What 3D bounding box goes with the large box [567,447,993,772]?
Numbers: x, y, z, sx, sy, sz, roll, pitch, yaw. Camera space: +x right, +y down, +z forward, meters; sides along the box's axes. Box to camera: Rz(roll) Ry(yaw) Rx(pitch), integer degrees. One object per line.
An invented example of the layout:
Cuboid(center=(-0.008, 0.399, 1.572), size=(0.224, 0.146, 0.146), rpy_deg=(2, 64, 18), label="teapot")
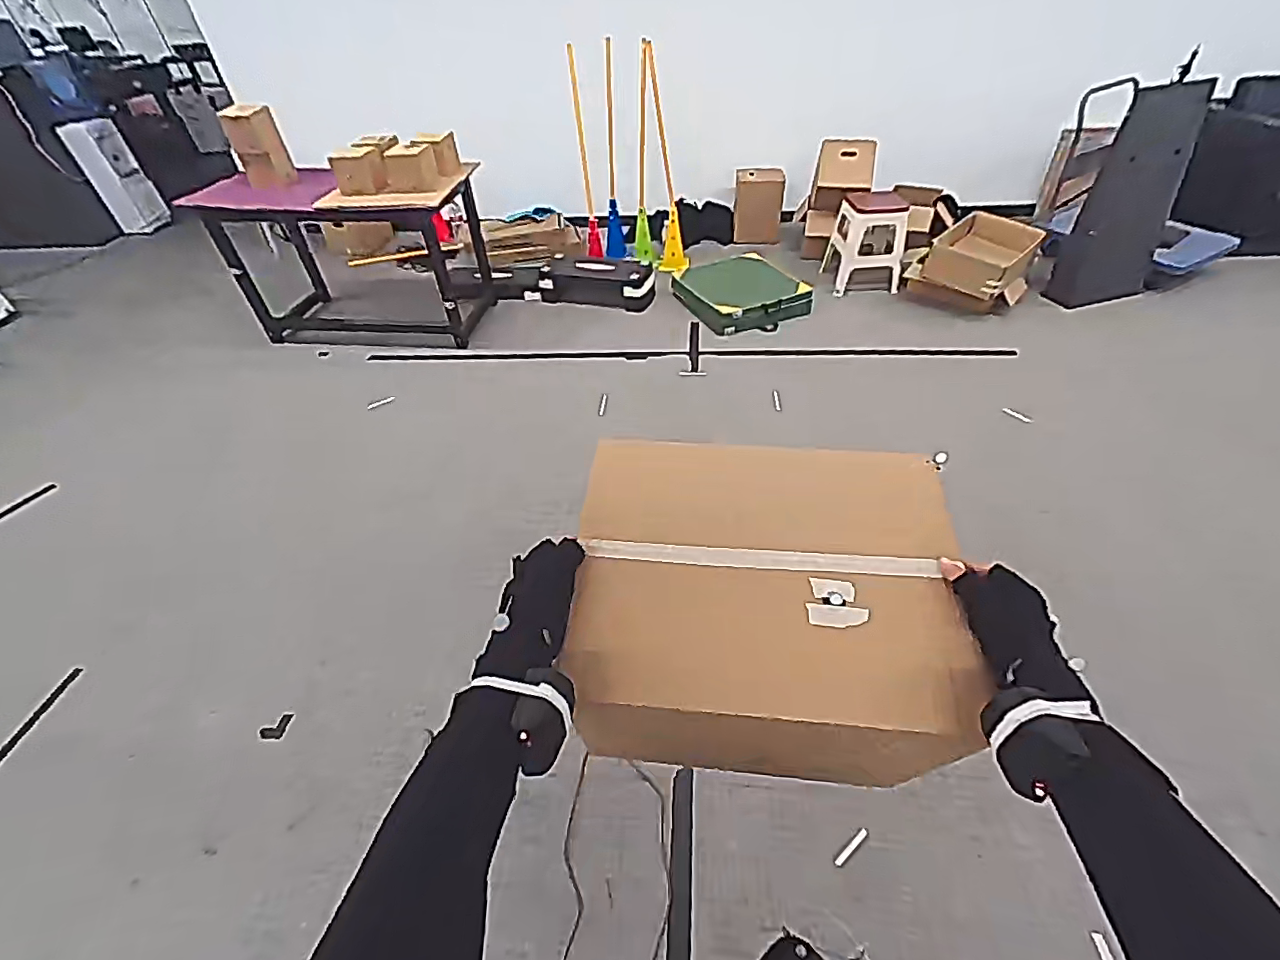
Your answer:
Cuboid(center=(0.142, 0.176, 0.710), size=(0.408, 0.320, 0.320), rpy_deg=(3, 55, 5), label="large box")
